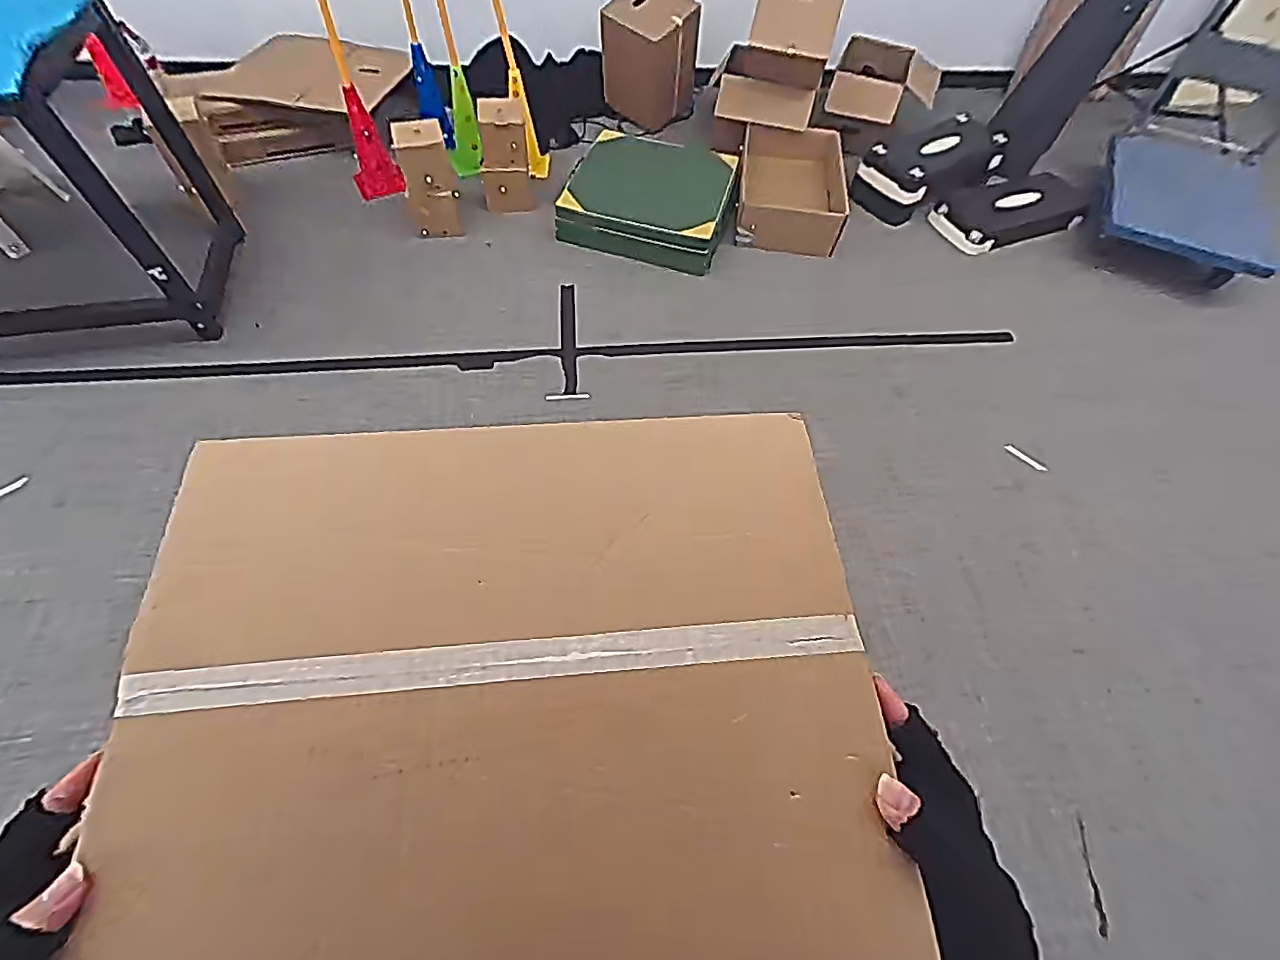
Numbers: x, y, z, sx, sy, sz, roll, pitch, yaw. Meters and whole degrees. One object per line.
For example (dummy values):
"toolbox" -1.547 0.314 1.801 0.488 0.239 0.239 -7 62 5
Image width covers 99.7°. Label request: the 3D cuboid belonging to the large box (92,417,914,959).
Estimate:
"large box" -0.078 0.169 0.454 0.408 0.320 0.320 -4 65 -4
